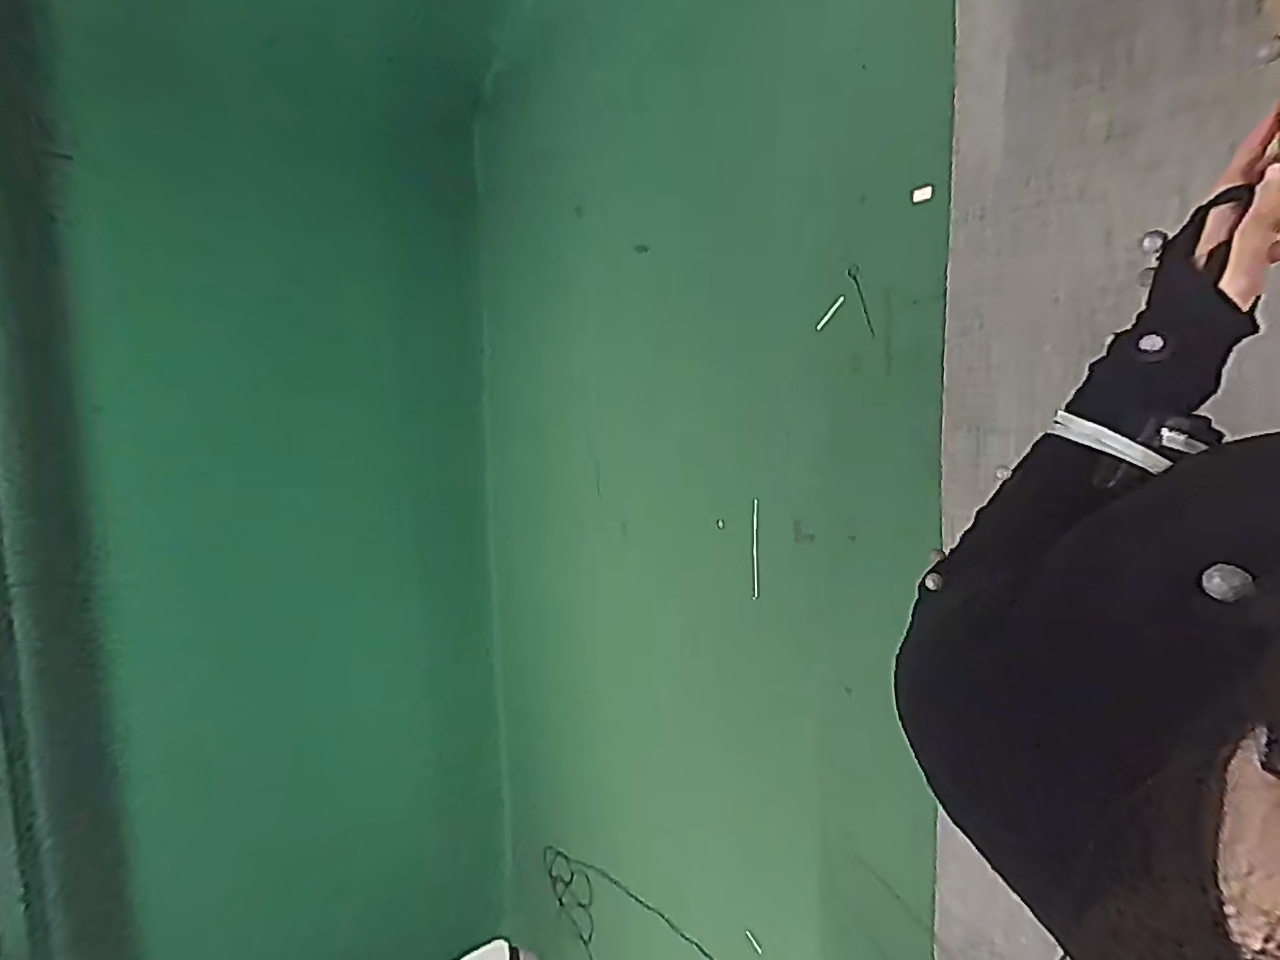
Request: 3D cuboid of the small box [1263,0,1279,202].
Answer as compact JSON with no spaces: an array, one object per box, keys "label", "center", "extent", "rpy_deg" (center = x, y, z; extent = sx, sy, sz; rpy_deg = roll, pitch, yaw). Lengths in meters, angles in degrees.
[{"label":"small box","center":[0.436,-0.250,0.265],"extent":[0.168,0.176,0.179],"rpy_deg":[-3,104,48]}]
